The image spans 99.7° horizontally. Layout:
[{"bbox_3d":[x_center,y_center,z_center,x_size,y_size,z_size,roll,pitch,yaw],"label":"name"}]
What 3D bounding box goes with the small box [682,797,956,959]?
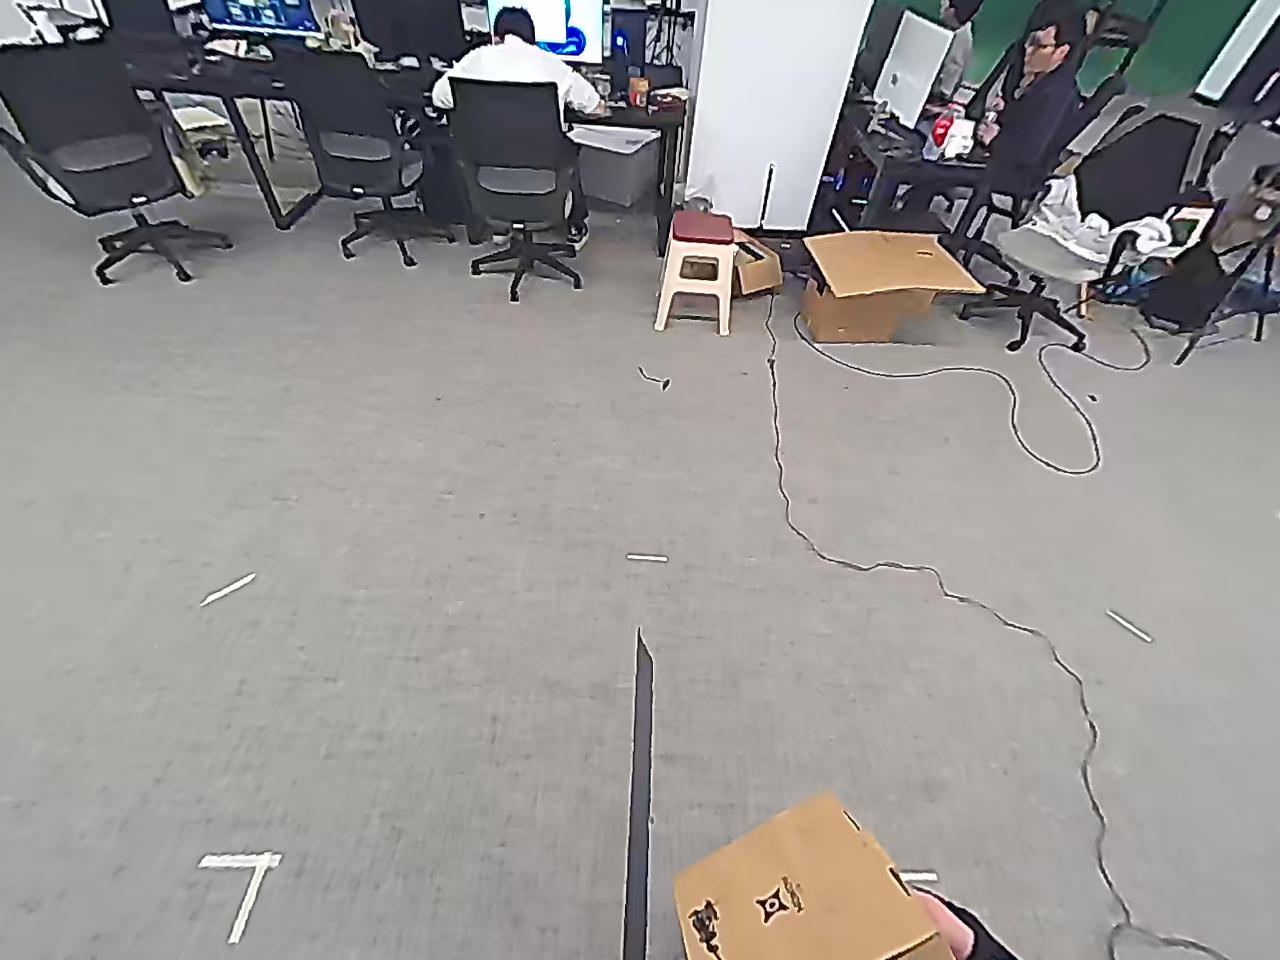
[{"bbox_3d":[0.159,0.423,0.452,0.179,0.168,0.176,-26,92,-5],"label":"small box"}]
